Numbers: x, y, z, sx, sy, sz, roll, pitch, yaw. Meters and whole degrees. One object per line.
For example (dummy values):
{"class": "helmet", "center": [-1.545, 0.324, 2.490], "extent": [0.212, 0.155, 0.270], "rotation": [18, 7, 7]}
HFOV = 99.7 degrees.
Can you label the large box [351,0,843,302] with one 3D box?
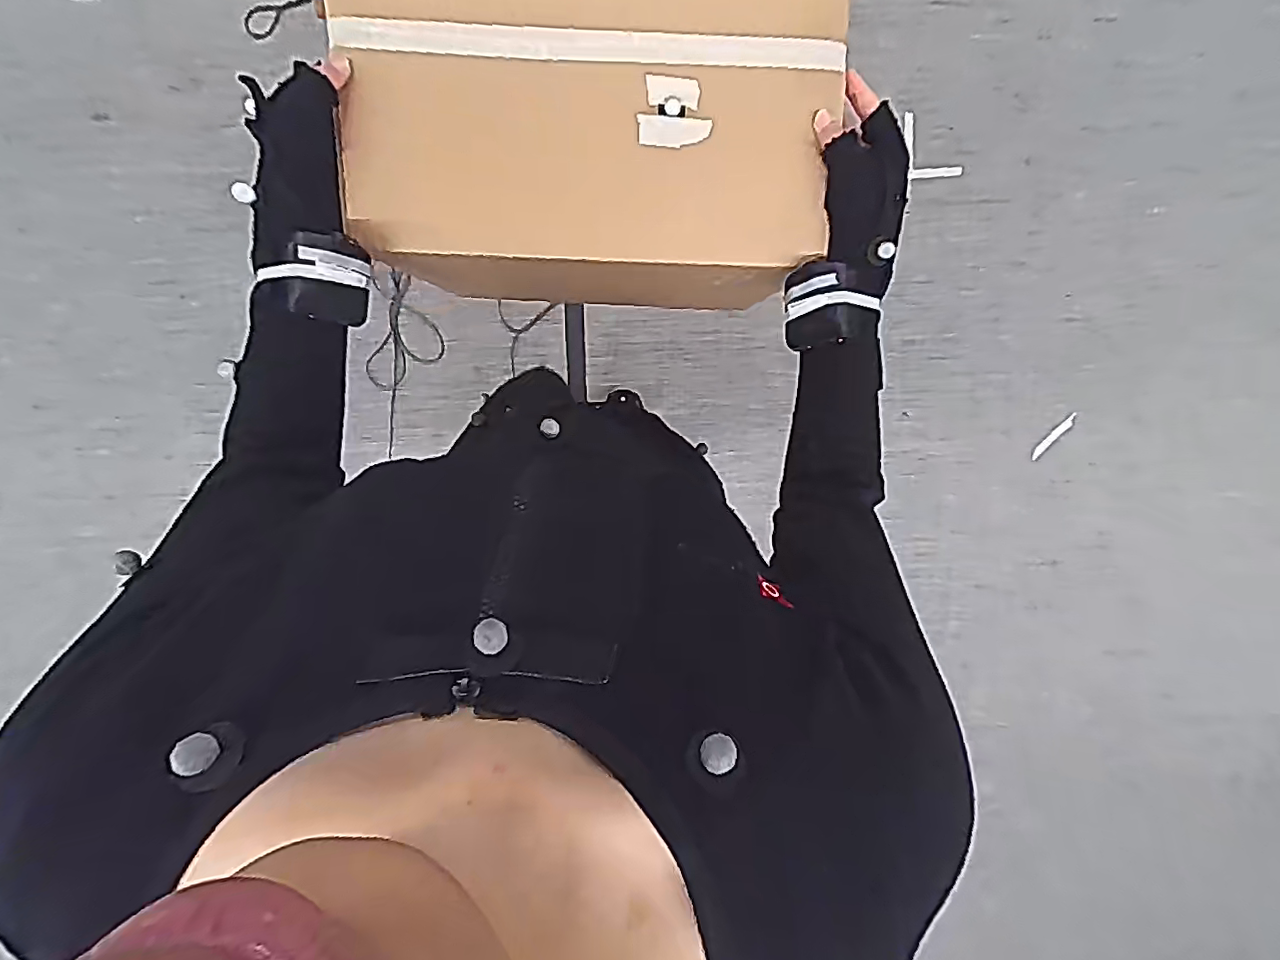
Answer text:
{"class": "large box", "center": [-0.040, -0.375, 0.589], "extent": [0.408, 0.320, 0.320], "rotation": [1, 102, -2]}
